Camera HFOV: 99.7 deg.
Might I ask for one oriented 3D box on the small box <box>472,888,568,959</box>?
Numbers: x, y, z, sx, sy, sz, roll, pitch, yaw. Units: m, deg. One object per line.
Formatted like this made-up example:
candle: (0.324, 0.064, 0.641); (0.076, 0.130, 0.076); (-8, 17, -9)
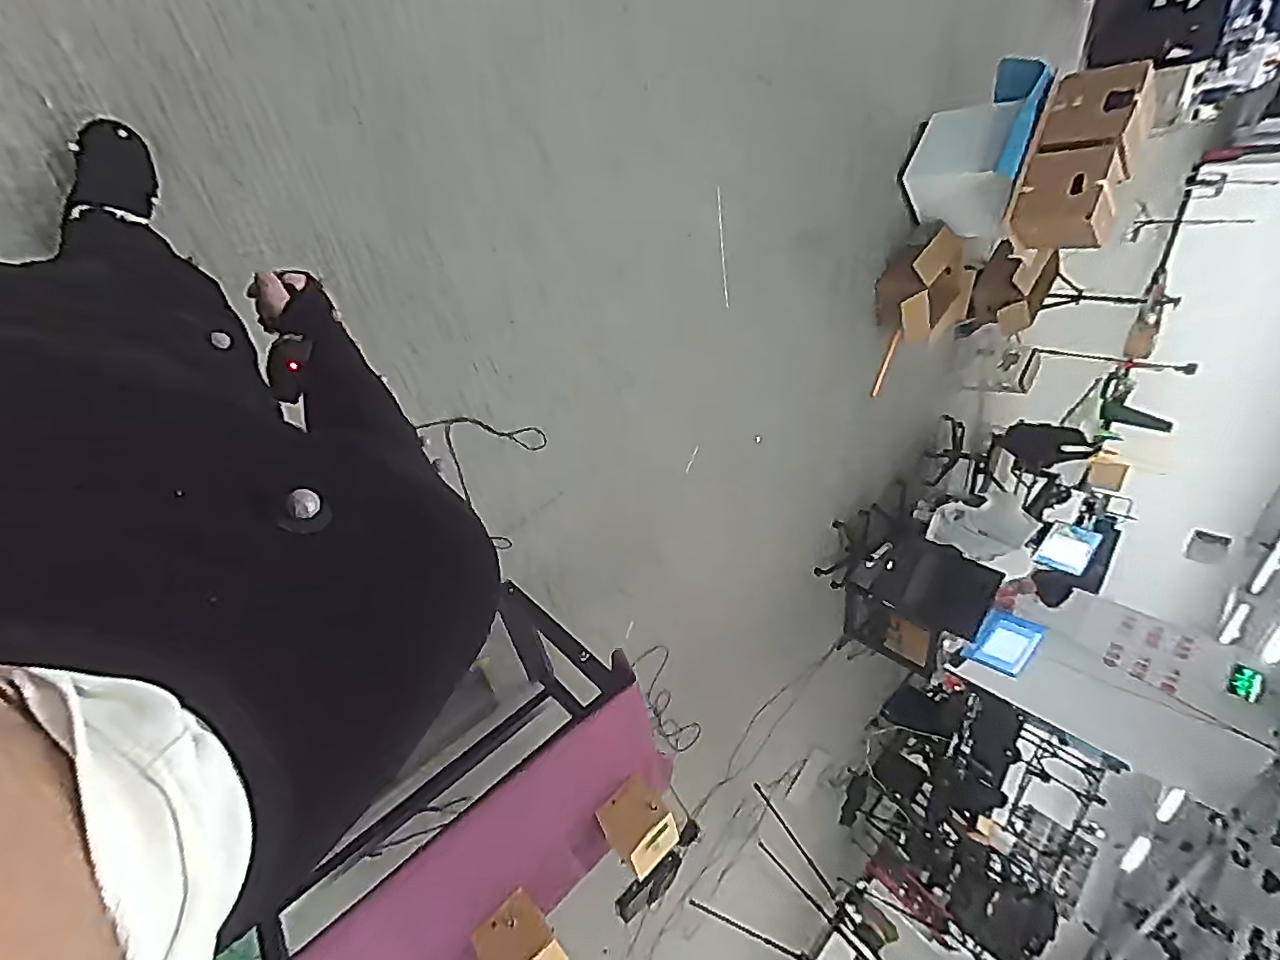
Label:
small box: (-0.324, 1.257, 1.456); (0.168, 0.176, 0.179); (-33, 128, -29)
